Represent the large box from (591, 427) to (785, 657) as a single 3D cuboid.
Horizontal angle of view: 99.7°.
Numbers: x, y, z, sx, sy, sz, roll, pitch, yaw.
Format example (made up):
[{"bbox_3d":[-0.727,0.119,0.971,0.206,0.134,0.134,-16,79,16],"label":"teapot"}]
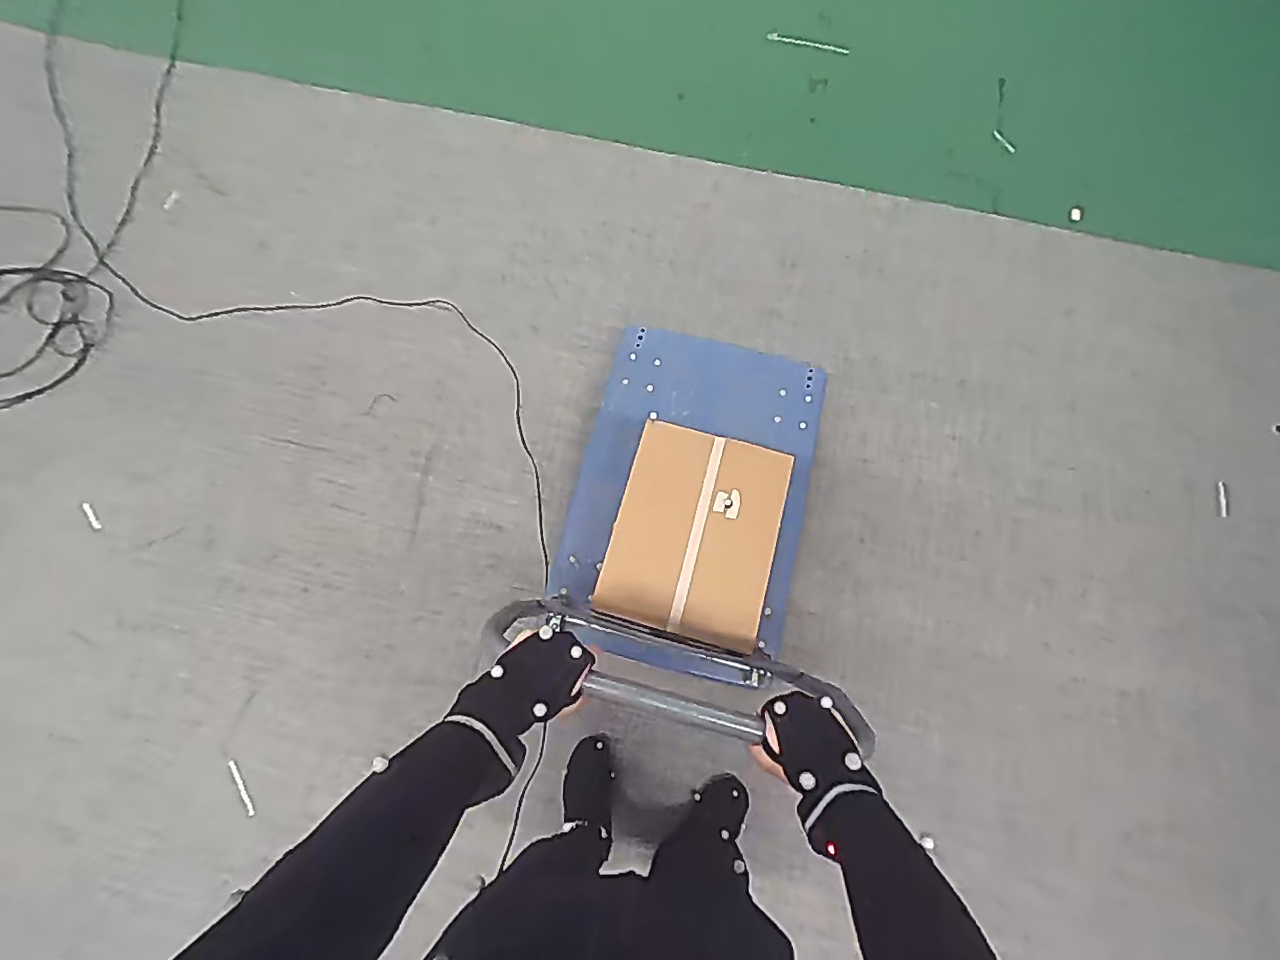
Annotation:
[{"bbox_3d":[0.101,0.153,1.202,0.320,0.320,0.408,15,74,3],"label":"large box"}]
